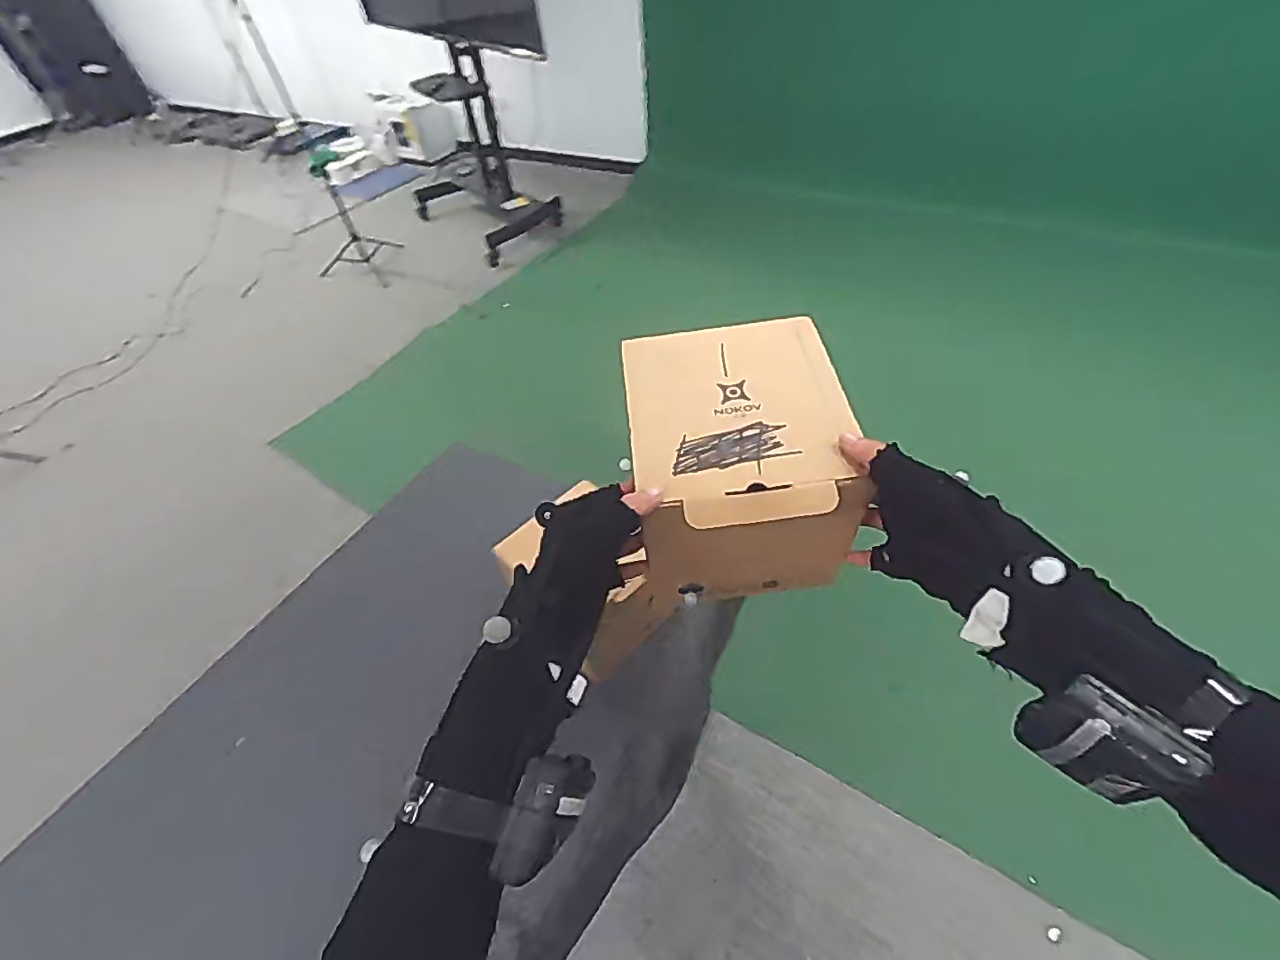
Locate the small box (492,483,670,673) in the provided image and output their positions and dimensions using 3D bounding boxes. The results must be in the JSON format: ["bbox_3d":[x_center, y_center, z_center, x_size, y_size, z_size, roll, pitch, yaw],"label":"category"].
[{"bbox_3d":[-0.072,0.144,0.763,0.179,0.176,0.168,33,59,32],"label":"small box"}]

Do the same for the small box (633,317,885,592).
[{"bbox_3d":[0.088,-0.013,0.476,0.168,0.176,0.179,-7,53,2],"label":"small box"}]
